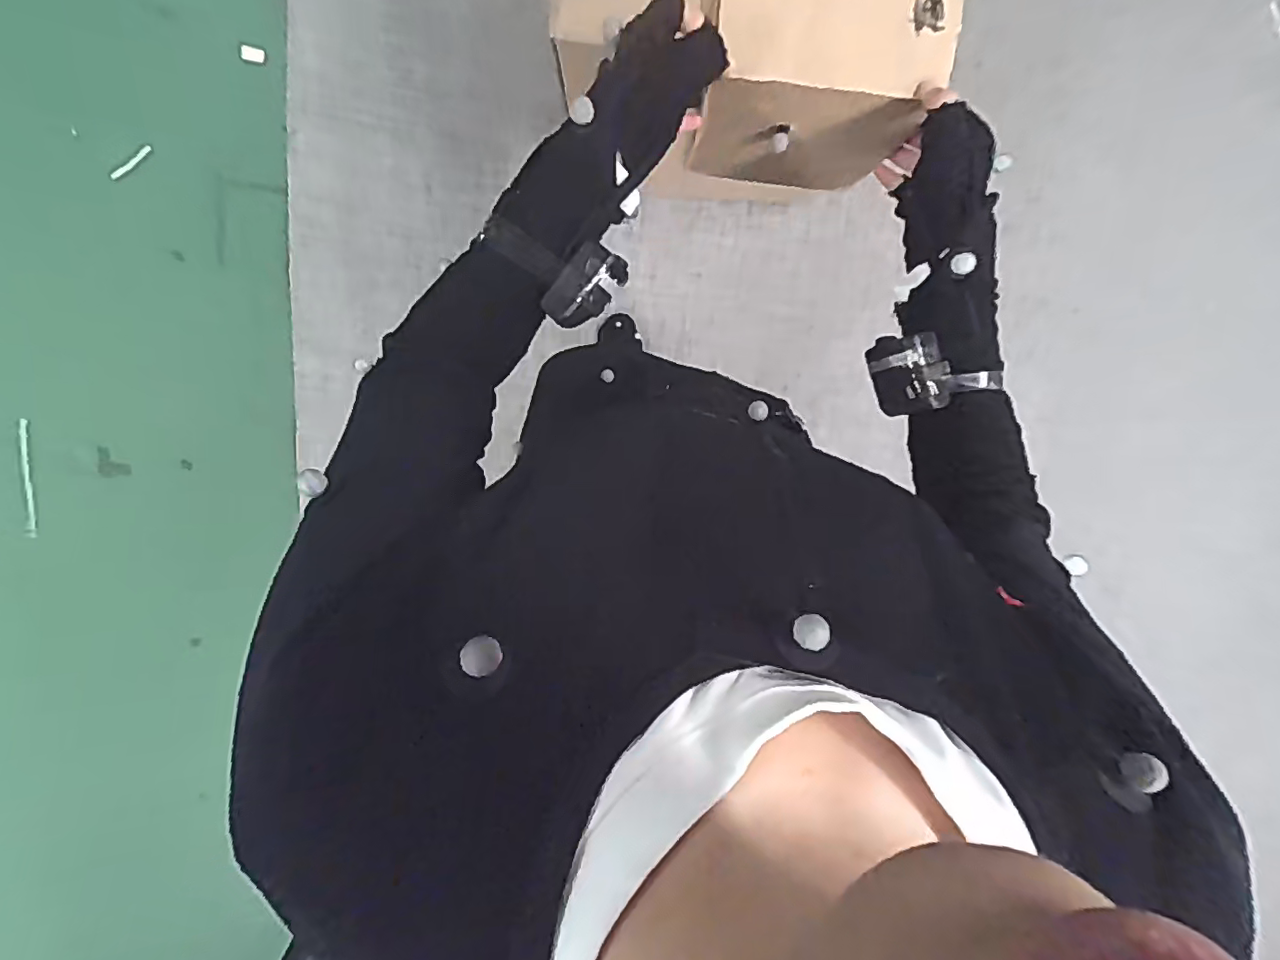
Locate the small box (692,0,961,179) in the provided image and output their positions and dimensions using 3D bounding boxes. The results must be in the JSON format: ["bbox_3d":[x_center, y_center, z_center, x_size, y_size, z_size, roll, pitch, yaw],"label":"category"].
[{"bbox_3d":[0.144,-0.381,0.460,0.179,0.176,0.168,5,97,-2],"label":"small box"}]
